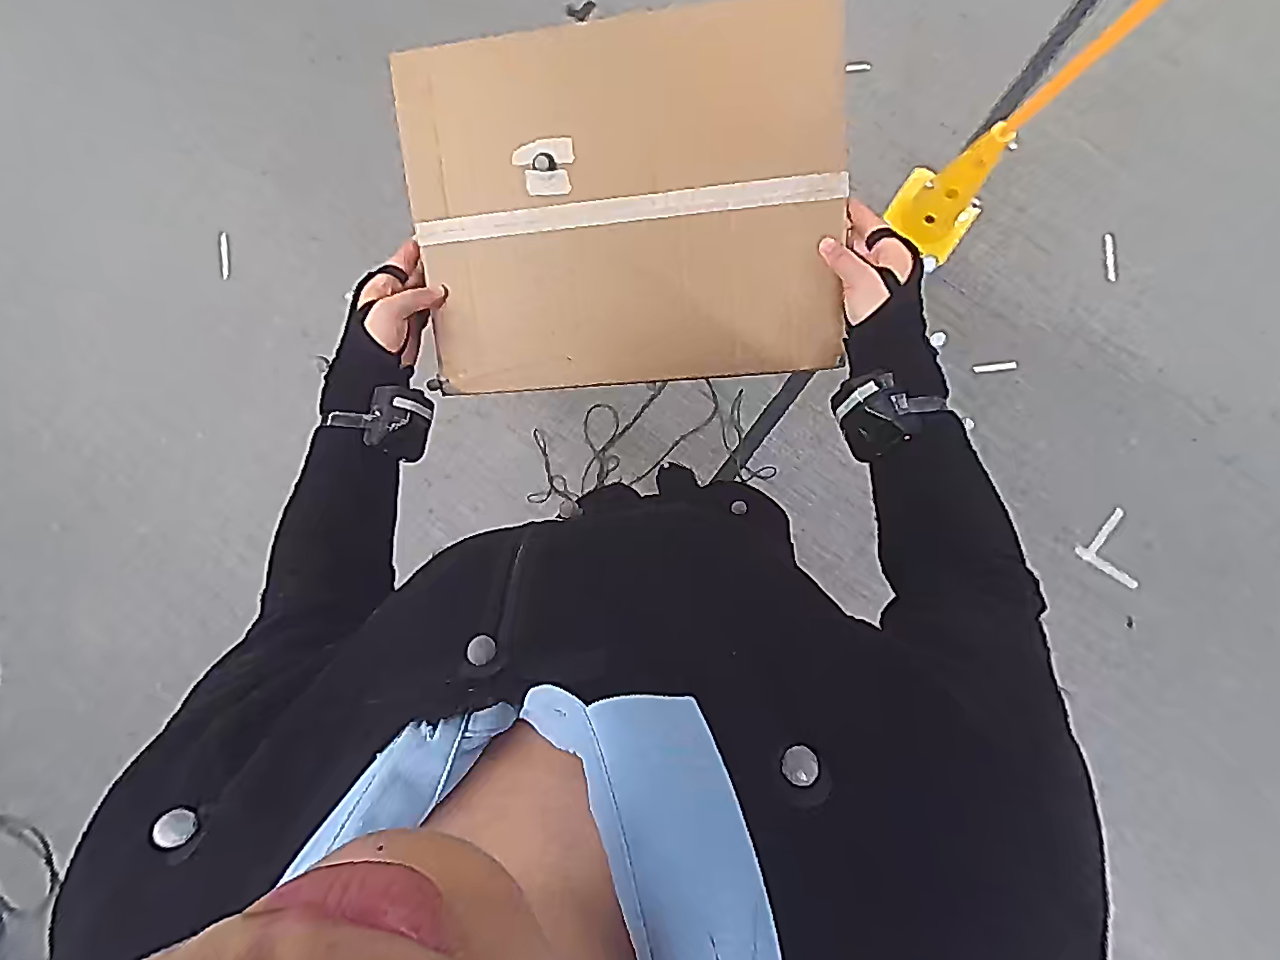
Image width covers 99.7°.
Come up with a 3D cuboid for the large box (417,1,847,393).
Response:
[{"bbox_3d":[0.012,-0.284,0.663,0.408,0.320,0.320,-2,101,8],"label":"large box"}]
